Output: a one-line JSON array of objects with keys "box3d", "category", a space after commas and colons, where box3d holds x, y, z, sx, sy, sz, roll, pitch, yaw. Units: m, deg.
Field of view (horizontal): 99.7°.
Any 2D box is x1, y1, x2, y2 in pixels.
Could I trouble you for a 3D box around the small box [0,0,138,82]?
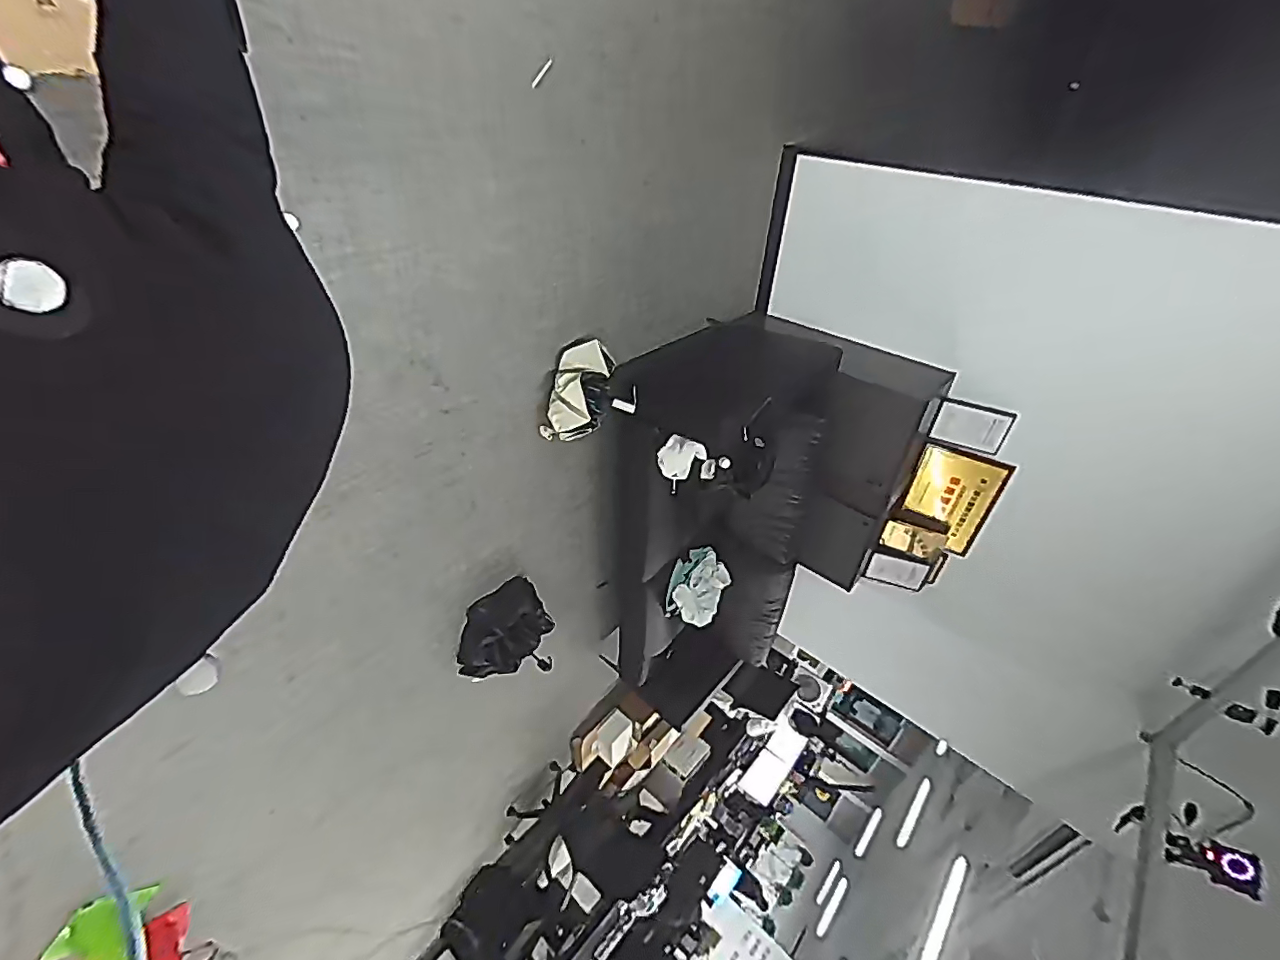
[{"box3d": [-0.925, -0.720, 0.817, 0.168, 0.176, 0.179, -36, 143, -37], "category": "small box"}]
